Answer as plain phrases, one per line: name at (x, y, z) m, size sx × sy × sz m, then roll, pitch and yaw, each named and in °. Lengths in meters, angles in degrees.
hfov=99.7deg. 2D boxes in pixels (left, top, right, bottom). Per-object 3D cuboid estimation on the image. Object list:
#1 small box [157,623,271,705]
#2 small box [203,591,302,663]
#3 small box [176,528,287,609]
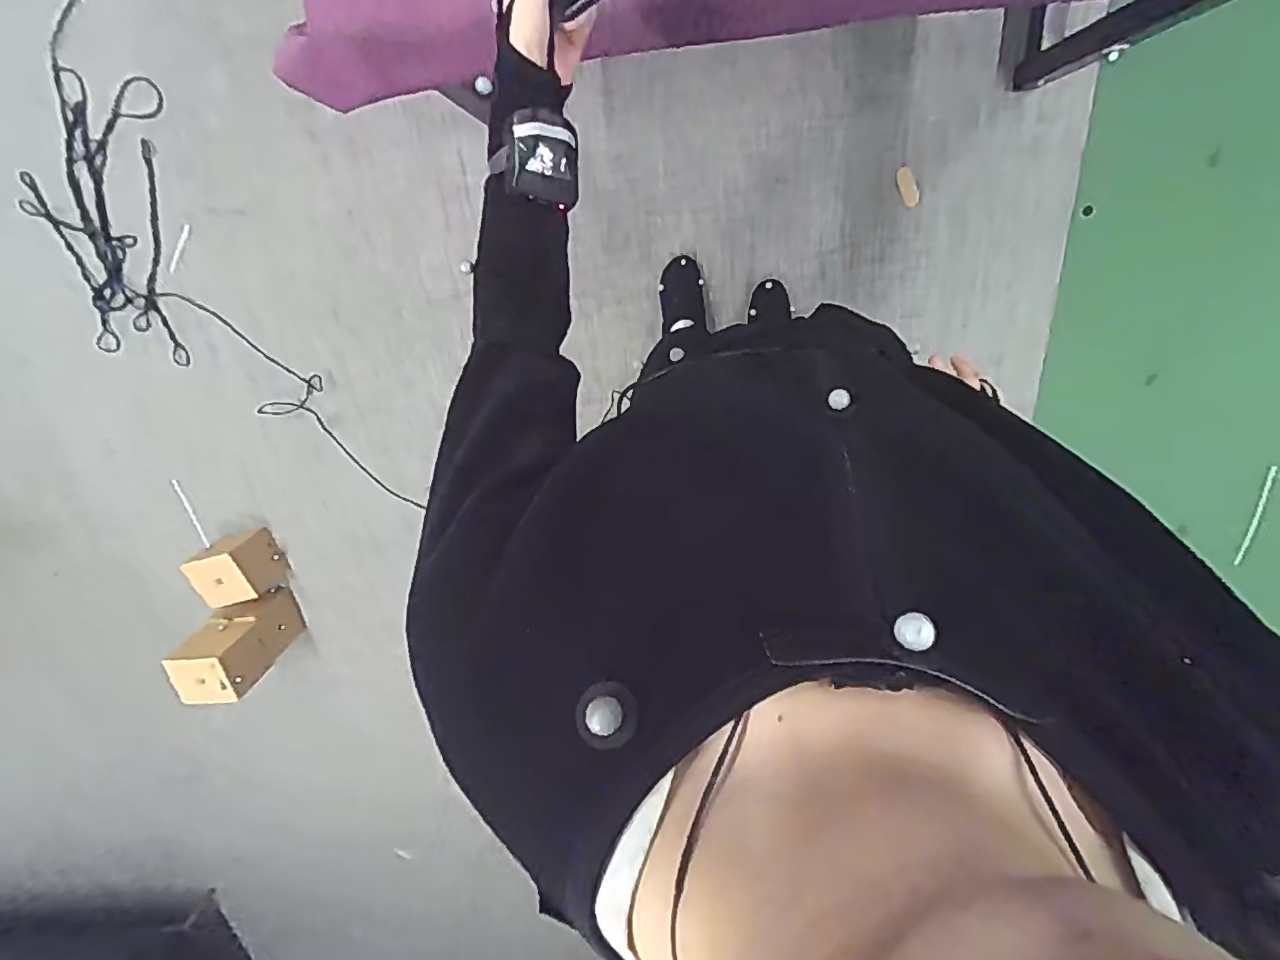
small box at (-1.255, 0.542, 1.605) m, size 0.179 × 0.176 × 0.168 m, roll -3°, pitch 113°, yaw 5°
small box at (-1.248, 0.473, 1.754) m, size 0.168 × 0.176 × 0.179 m, roll -4°, pitch 113°, yaw 6°
small box at (-1.251, 0.269, 1.669) m, size 0.179 × 0.176 × 0.168 m, roll -14°, pitch 112°, yaw 8°
